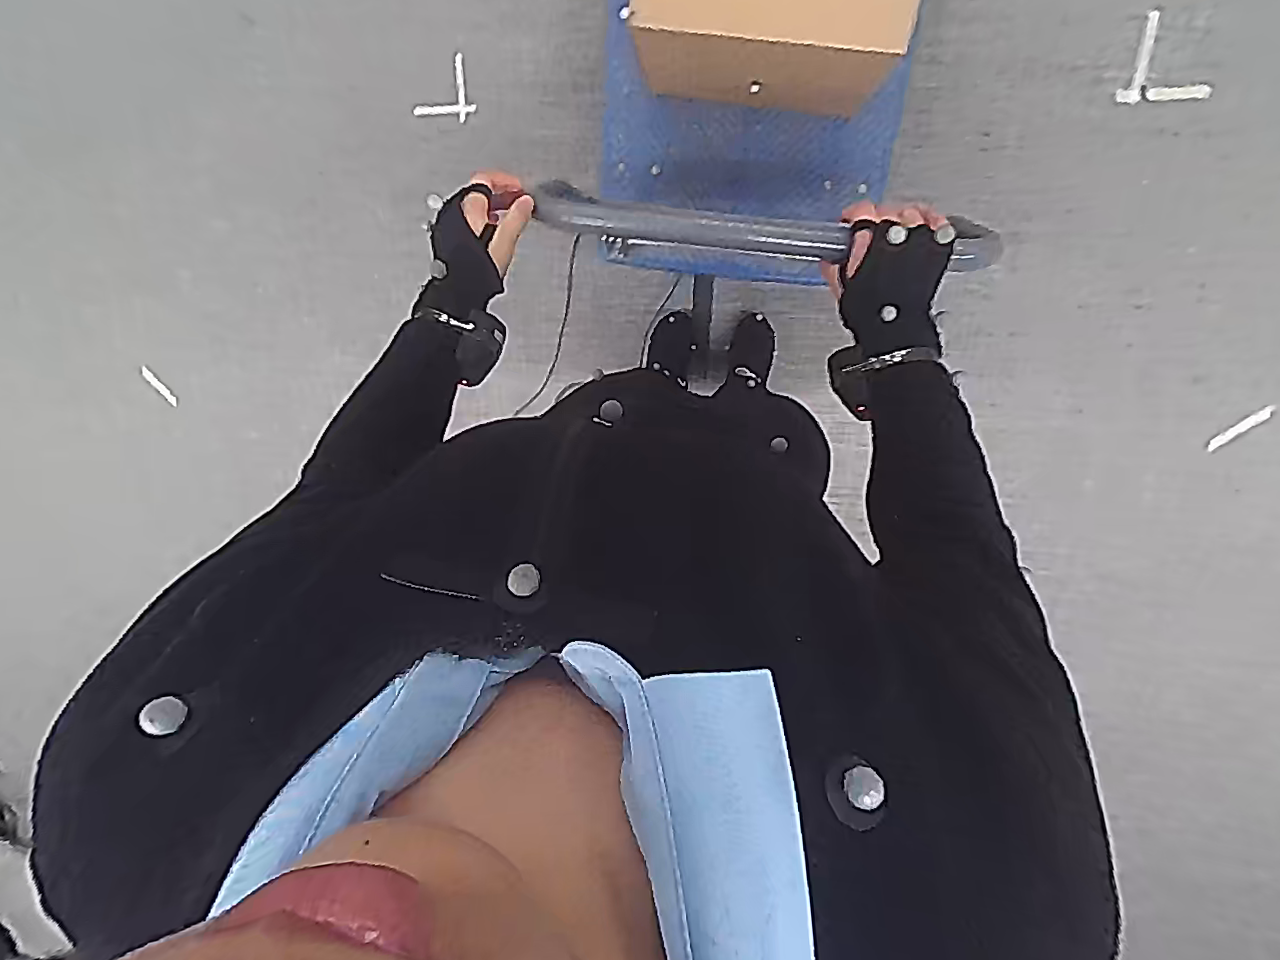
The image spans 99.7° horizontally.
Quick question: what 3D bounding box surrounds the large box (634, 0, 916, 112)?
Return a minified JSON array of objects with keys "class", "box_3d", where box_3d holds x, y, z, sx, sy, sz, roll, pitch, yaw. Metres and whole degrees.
[{"class":"large box","box_3d":[0.225,-0.838,0.885,0.408,0.320,0.320,10,109,5]}]
